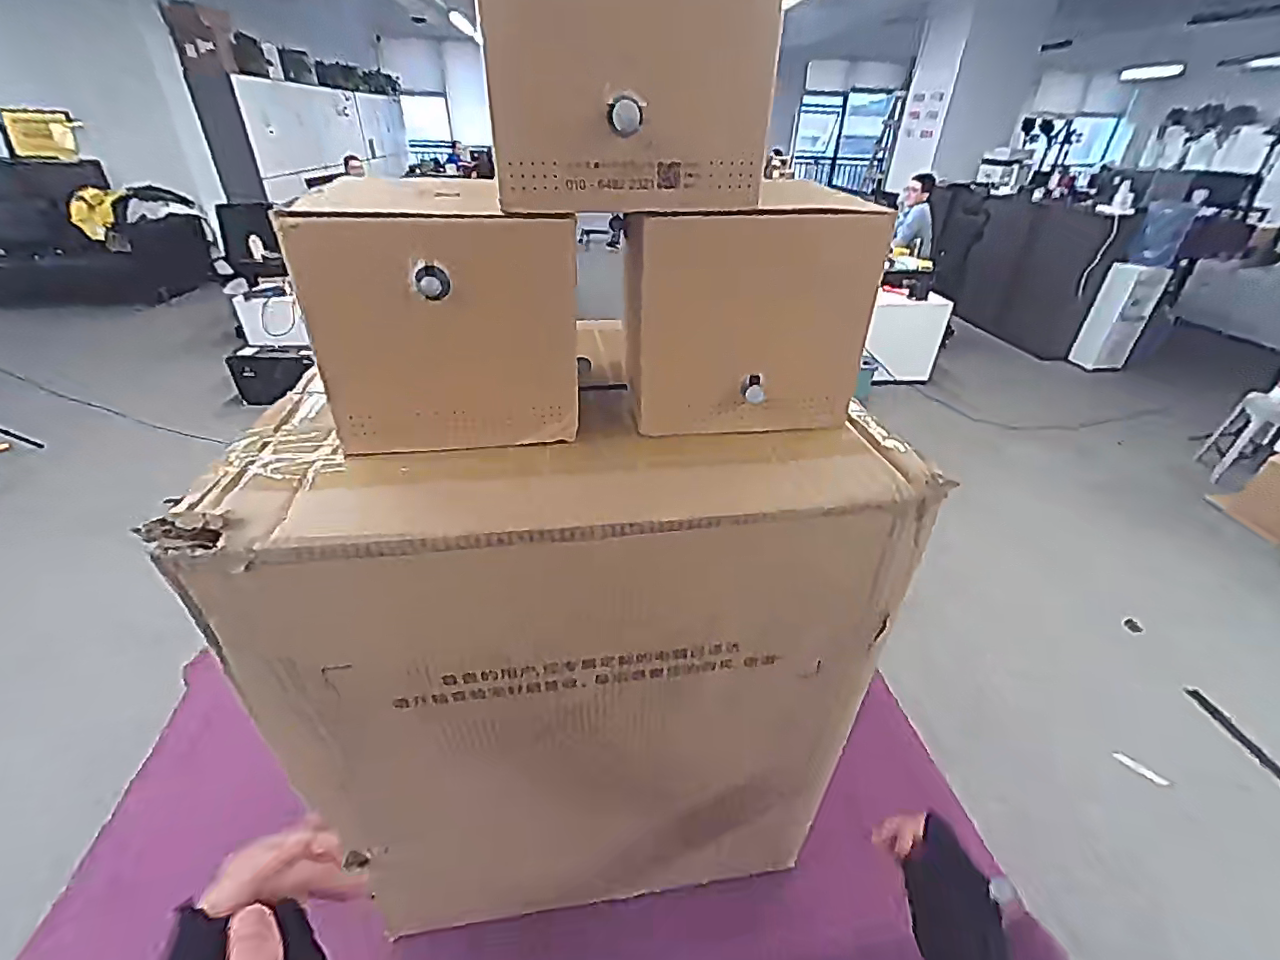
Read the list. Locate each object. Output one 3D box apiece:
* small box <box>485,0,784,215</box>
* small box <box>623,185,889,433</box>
[{"bbox_3d":[-0.013,-0.286,0.369,0.168,0.176,0.179,-4,35,-7],"label":"small box"},{"bbox_3d":[0.077,-0.153,0.472,0.179,0.176,0.168,-4,34,-6],"label":"small box"}]
